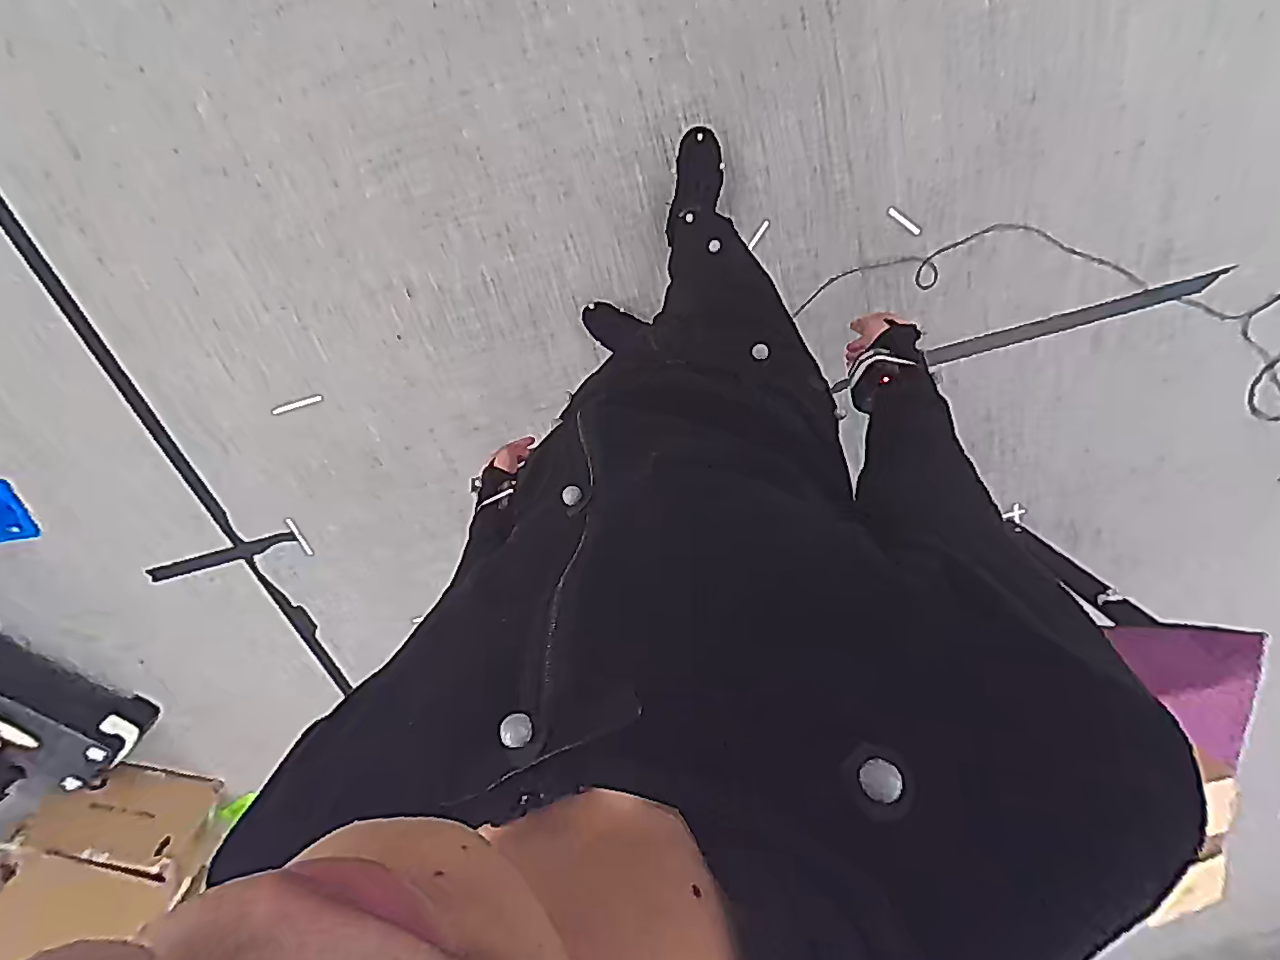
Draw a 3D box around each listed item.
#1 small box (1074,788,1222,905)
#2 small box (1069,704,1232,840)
[{"bbox_3d":[1.129,0.801,1.215,0.179,0.176,0.168,-19,113,6],"label":"small box"},{"bbox_3d":[1.043,0.596,1.121,0.179,0.176,0.168,-17,113,5],"label":"small box"}]
